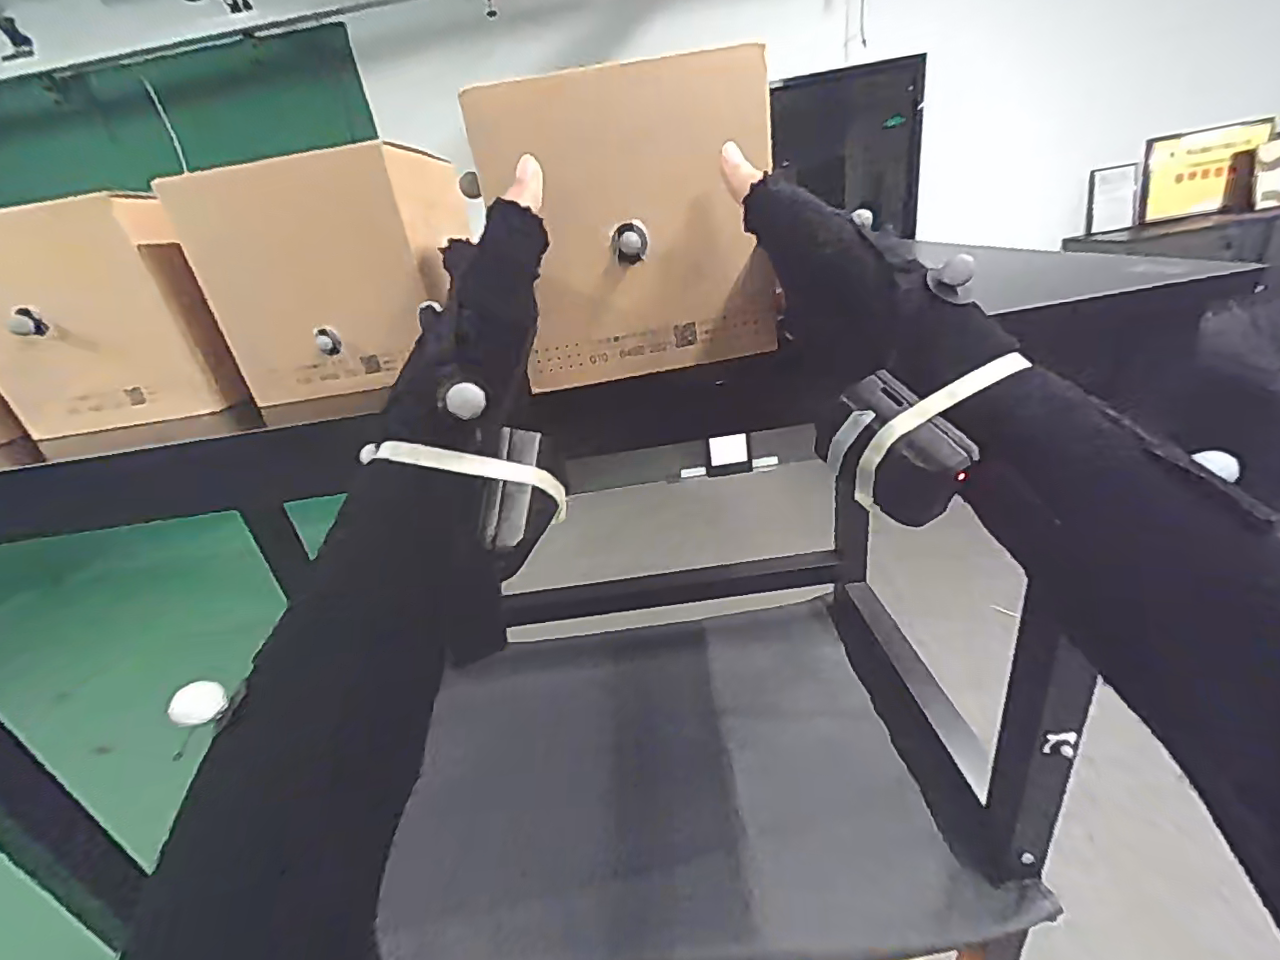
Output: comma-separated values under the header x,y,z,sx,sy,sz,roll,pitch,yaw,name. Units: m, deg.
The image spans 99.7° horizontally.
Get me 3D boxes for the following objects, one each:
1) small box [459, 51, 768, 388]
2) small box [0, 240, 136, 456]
x,y,z,sx,sy,sz,roll,pitch,yaw,name
-0.012,-0.173,0.392,0.168,0.176,0.179,-11,26,-3,small box
-0.638,-0.120,0.505,0.168,0.176,0.179,-9,27,2,small box
